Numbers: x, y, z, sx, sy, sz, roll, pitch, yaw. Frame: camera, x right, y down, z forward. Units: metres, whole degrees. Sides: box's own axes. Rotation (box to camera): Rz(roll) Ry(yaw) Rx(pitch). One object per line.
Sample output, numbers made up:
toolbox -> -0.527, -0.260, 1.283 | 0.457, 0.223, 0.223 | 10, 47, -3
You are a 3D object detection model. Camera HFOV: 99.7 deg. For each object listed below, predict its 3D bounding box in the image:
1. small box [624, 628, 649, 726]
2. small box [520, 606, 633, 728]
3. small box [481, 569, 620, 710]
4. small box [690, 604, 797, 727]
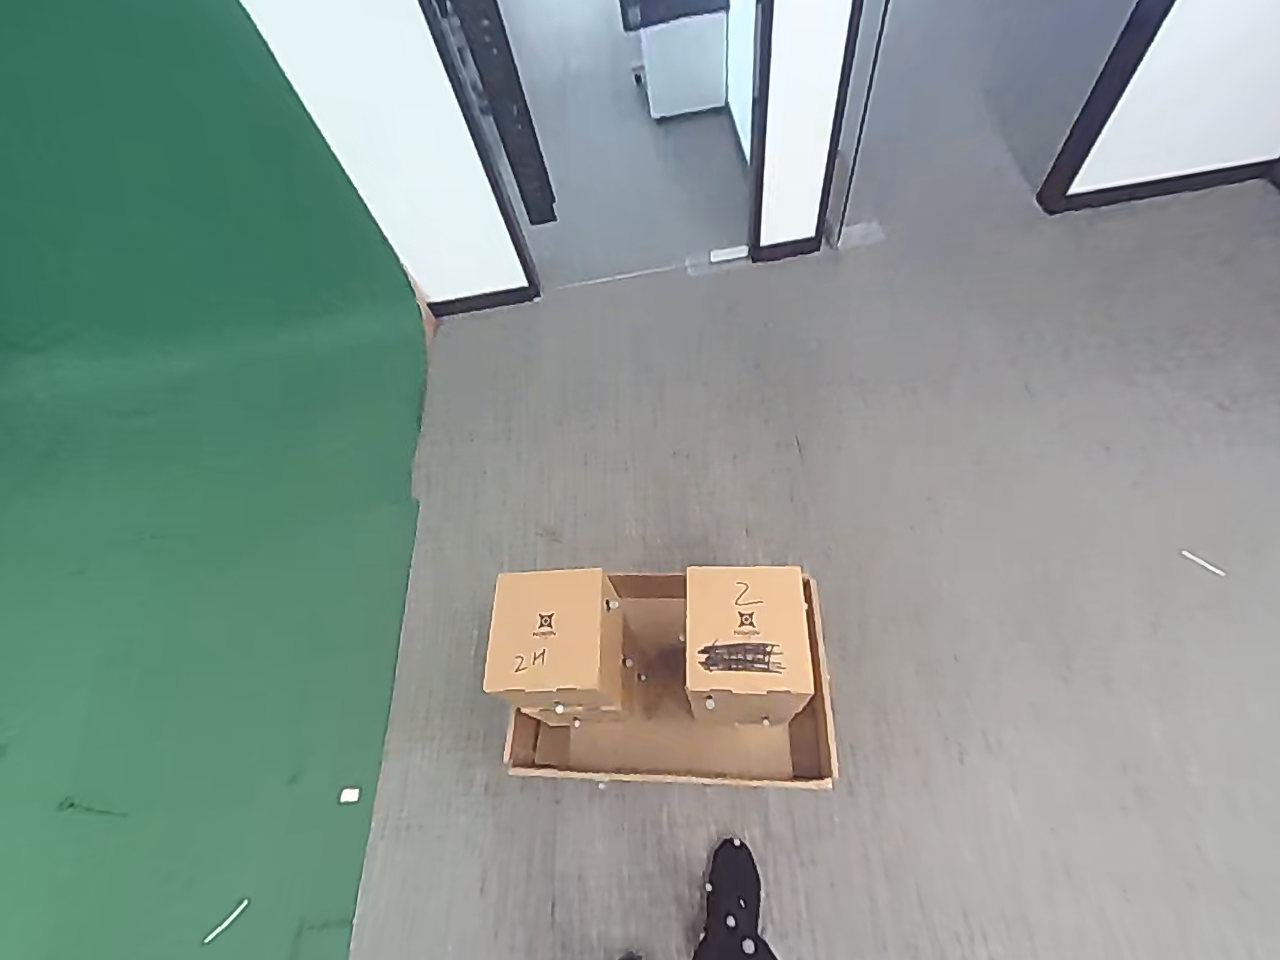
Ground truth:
small box -> -0.080, 0.412, 1.121 | 0.179, 0.176, 0.168 | -3, 59, 6
small box -> -0.105, 0.340, 0.977 | 0.168, 0.176, 0.179 | -4, 58, 6
small box -> -0.125, 0.251, 0.839 | 0.168, 0.176, 0.179 | -4, 59, 7
small box -> 0.175, 0.326, 0.939 | 0.168, 0.176, 0.179 | -1, 58, 7
